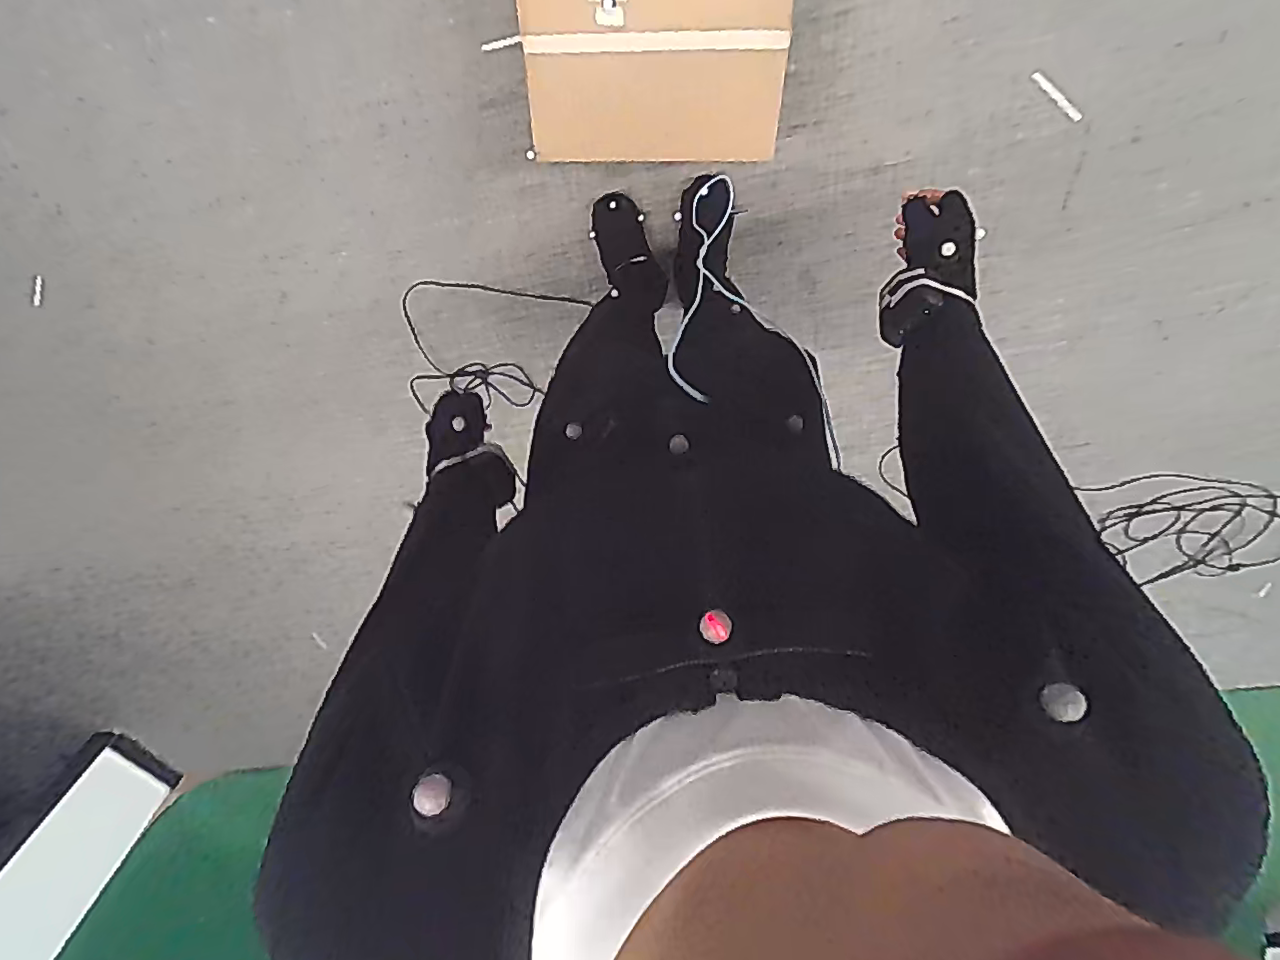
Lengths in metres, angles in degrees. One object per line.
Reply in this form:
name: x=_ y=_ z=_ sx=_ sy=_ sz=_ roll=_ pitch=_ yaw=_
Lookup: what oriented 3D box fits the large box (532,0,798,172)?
large box: x=0.049 y=-0.749 z=0.958 sx=0.408 sy=0.320 sz=0.320 roll=2 pitch=126 yaw=4
